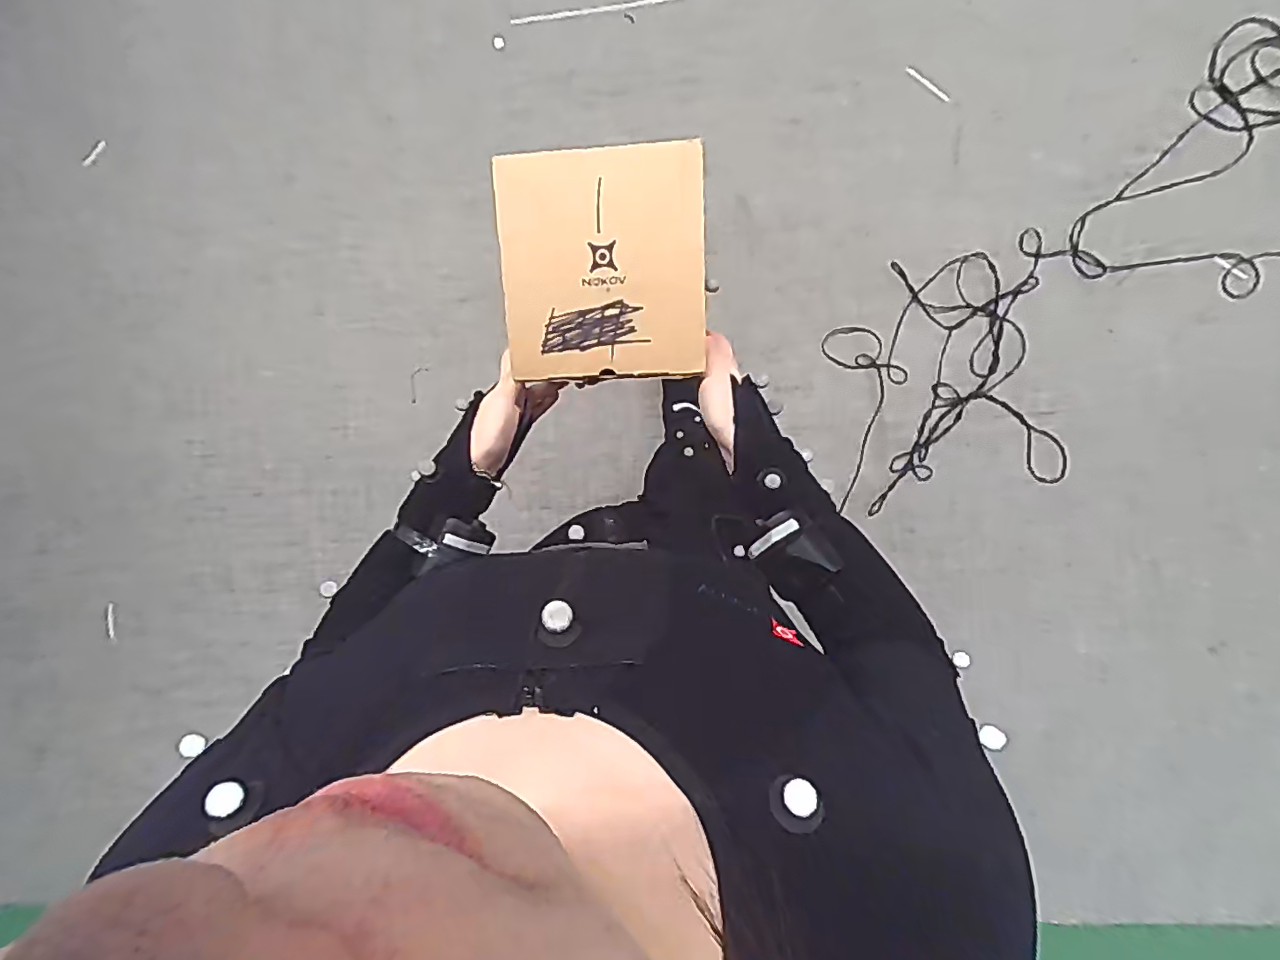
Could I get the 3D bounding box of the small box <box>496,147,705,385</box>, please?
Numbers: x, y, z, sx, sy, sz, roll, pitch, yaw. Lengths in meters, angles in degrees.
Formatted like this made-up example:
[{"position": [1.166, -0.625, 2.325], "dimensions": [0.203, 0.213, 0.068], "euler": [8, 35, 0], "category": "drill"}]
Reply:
[{"position": [-0.023, -0.185, 0.510], "dimensions": [0.168, 0.176, 0.179], "euler": [-1, 103, 5], "category": "small box"}]
